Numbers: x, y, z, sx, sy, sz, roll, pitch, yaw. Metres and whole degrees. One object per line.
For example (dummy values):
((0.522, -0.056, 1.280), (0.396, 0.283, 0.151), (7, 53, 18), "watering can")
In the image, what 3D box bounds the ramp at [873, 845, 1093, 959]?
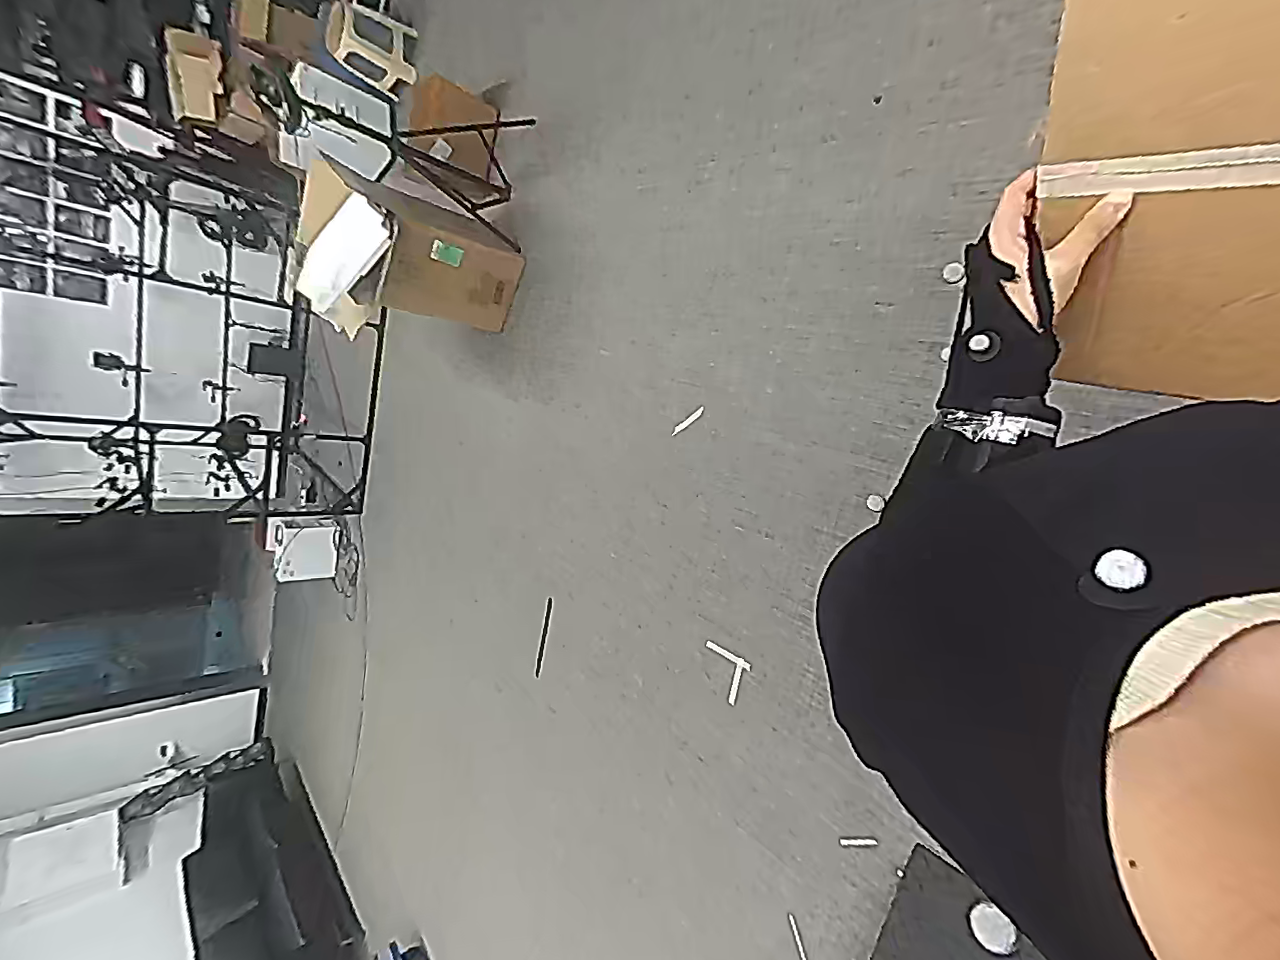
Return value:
((0.698, 1.427, 1.202), (0.509, 0.206, 0.991), (20, 103, 44), "ramp")

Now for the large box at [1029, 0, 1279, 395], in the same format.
((0.517, -0.247, 0.303), (0.408, 0.320, 0.320), (23, 146, 45), "large box")
